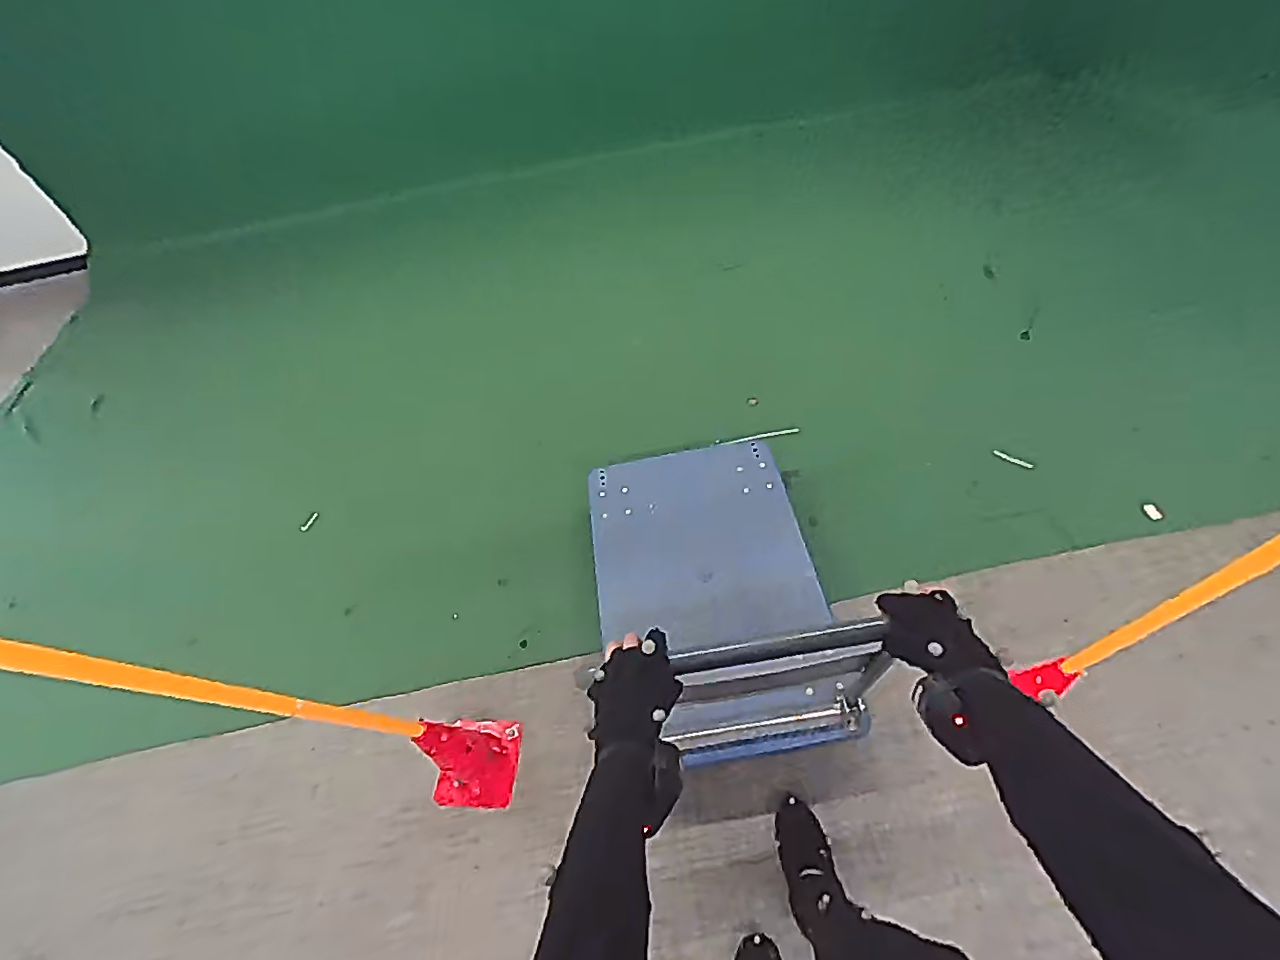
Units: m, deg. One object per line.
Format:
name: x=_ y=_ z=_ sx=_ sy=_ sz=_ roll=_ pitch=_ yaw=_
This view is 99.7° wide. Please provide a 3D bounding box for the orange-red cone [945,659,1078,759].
orange-red cone: x=0.846 y=0.469 z=1.178 sx=0.198 sy=0.360 sz=0.199 roll=-3 pitch=53 yaw=7
